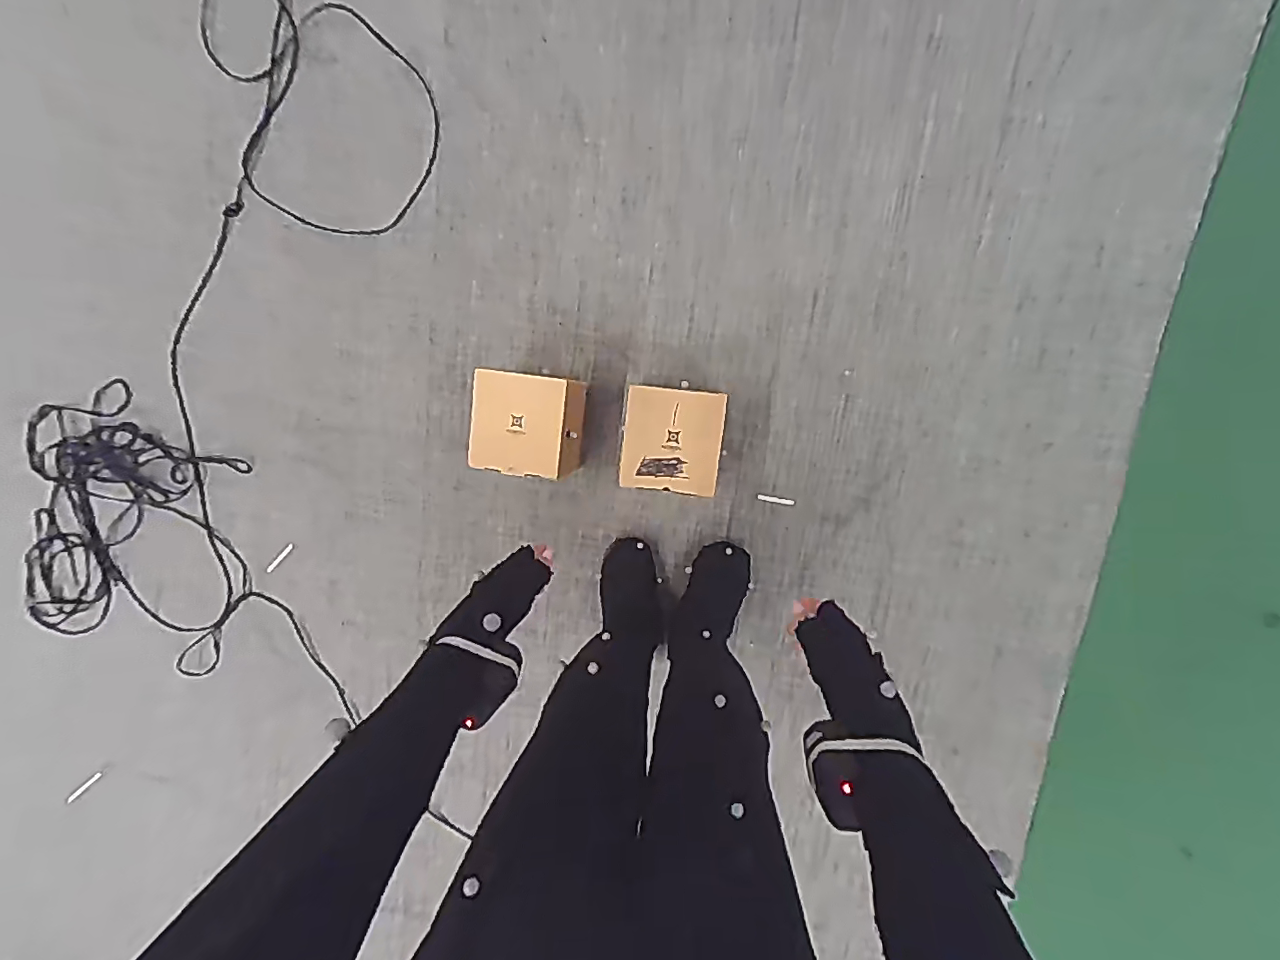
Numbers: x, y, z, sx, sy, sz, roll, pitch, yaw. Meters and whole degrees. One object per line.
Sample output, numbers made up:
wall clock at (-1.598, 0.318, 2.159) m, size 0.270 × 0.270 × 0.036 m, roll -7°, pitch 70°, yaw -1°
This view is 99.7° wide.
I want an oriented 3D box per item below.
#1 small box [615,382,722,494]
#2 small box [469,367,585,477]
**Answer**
small box at (0.057, -0.082, 0.991) m, size 0.168 × 0.176 × 0.179 m, roll 7°, pitch 99°, yaw 6°
small box at (-0.206, -0.113, 1.021) m, size 0.168 × 0.176 × 0.179 m, roll 8°, pitch 100°, yaw 6°
